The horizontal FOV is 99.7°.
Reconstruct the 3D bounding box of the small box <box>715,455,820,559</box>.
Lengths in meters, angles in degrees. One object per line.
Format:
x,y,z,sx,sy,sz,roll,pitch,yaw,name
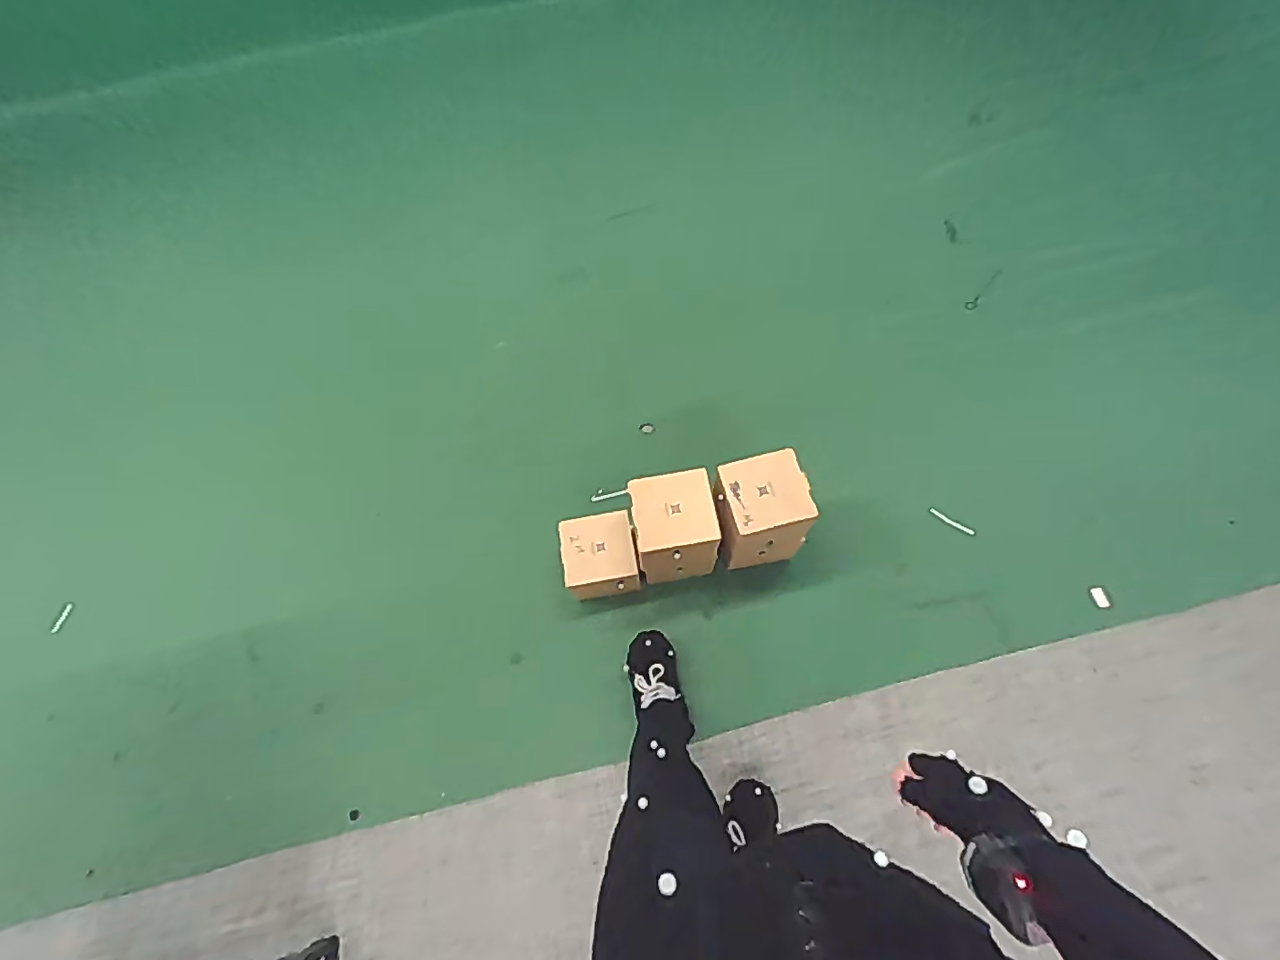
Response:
0.278,0.067,1.228,0.179,0.176,0.168,-13,66,-4,small box

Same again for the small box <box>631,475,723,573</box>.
0.080,0.105,1.225,0.179,0.176,0.168,-9,67,0,small box
